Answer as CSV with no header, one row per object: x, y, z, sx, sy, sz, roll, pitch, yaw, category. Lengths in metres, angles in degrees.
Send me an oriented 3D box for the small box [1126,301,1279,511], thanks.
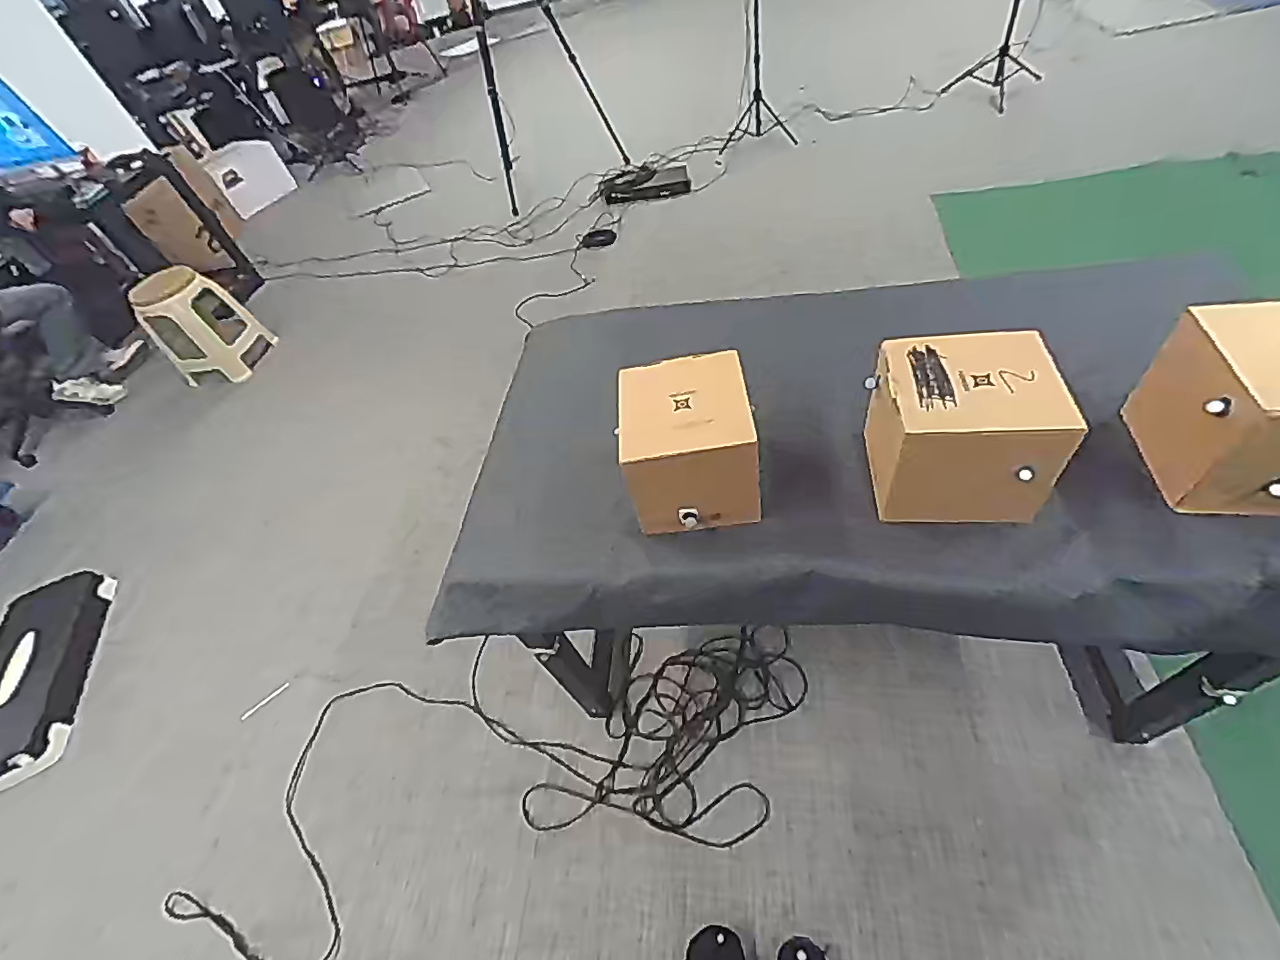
0.708,-0.083,0.612,0.168,0.176,0.179,1,52,15,small box

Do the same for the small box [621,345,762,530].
0.071,-0.054,0.744,0.168,0.176,0.179,-9,51,8,small box
